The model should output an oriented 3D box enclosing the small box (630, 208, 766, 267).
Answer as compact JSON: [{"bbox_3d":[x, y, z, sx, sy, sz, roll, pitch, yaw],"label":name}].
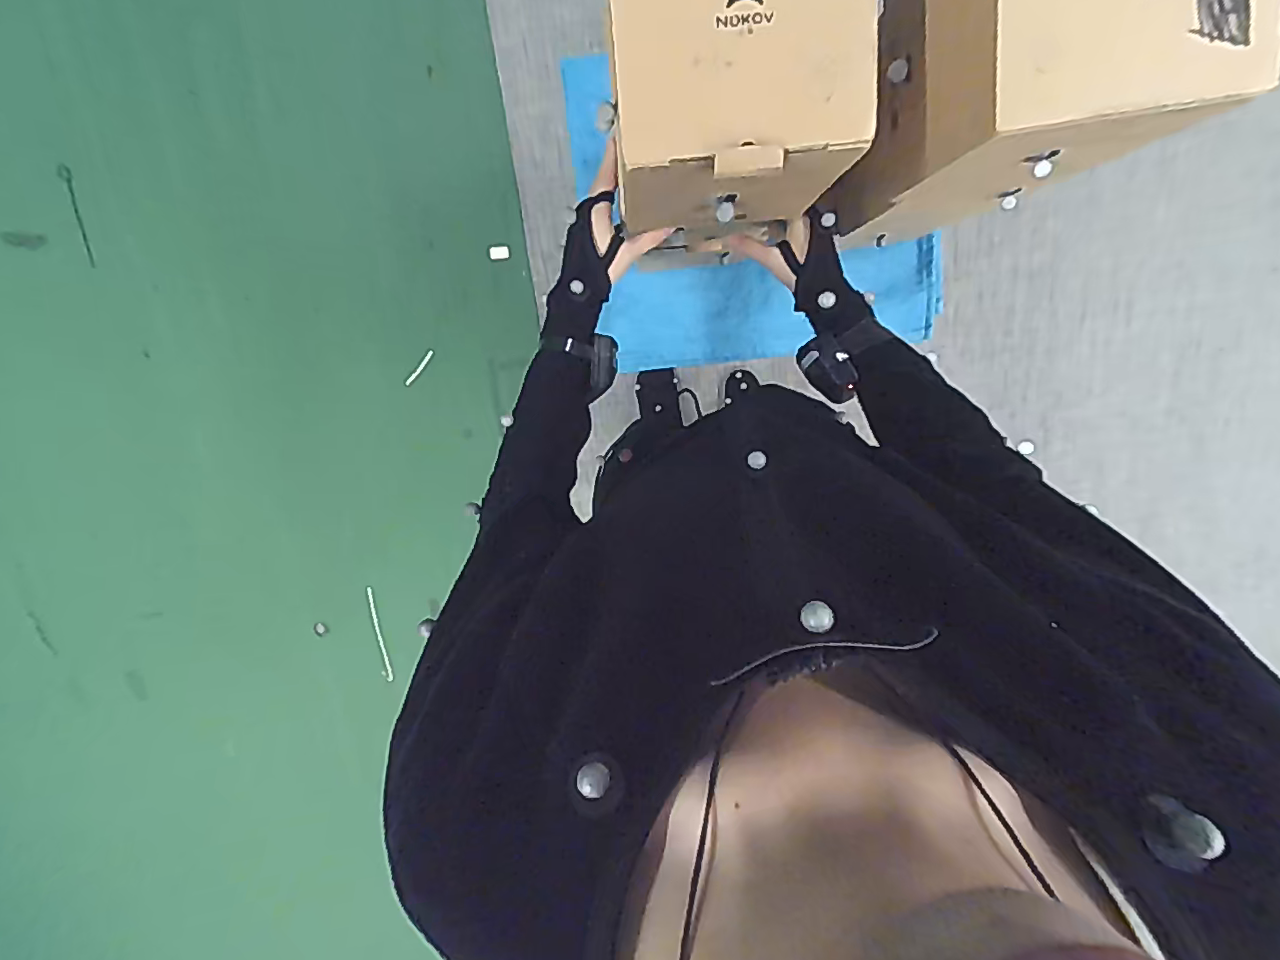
[{"bbox_3d":[0.069,-0.390,0.722,0.168,0.176,0.179,-5,102,1],"label":"small box"}]

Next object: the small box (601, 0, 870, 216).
[{"bbox_3d":[0.058,-0.310,0.405,0.168,0.176,0.179,-3,102,0],"label":"small box"}]

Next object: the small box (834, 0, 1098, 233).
[{"bbox_3d":[0.313,-0.367,0.555,0.179,0.176,0.168,-7,103,3],"label":"small box"}]
